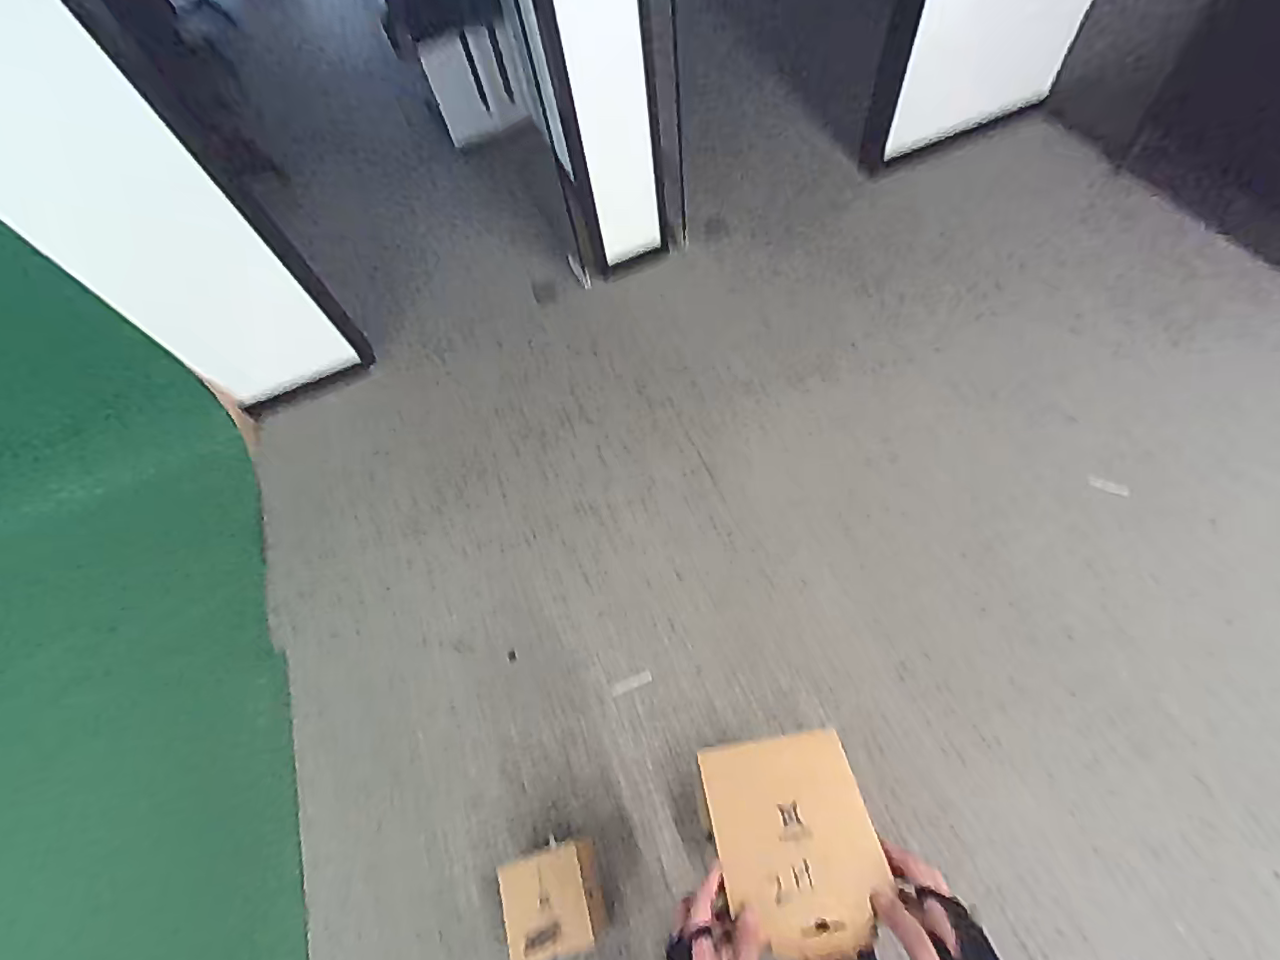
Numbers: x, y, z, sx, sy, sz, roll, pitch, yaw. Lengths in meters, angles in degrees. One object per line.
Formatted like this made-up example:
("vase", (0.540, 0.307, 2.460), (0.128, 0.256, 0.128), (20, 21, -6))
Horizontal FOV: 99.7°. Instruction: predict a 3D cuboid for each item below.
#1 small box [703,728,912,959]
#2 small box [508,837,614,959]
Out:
("small box", (0.168, 0.413, 0.616), (0.168, 0.176, 0.179), (-9, 46, -3))
("small box", (-0.162, 0.884, 1.144), (0.168, 0.176, 0.179), (-18, 59, -3))
